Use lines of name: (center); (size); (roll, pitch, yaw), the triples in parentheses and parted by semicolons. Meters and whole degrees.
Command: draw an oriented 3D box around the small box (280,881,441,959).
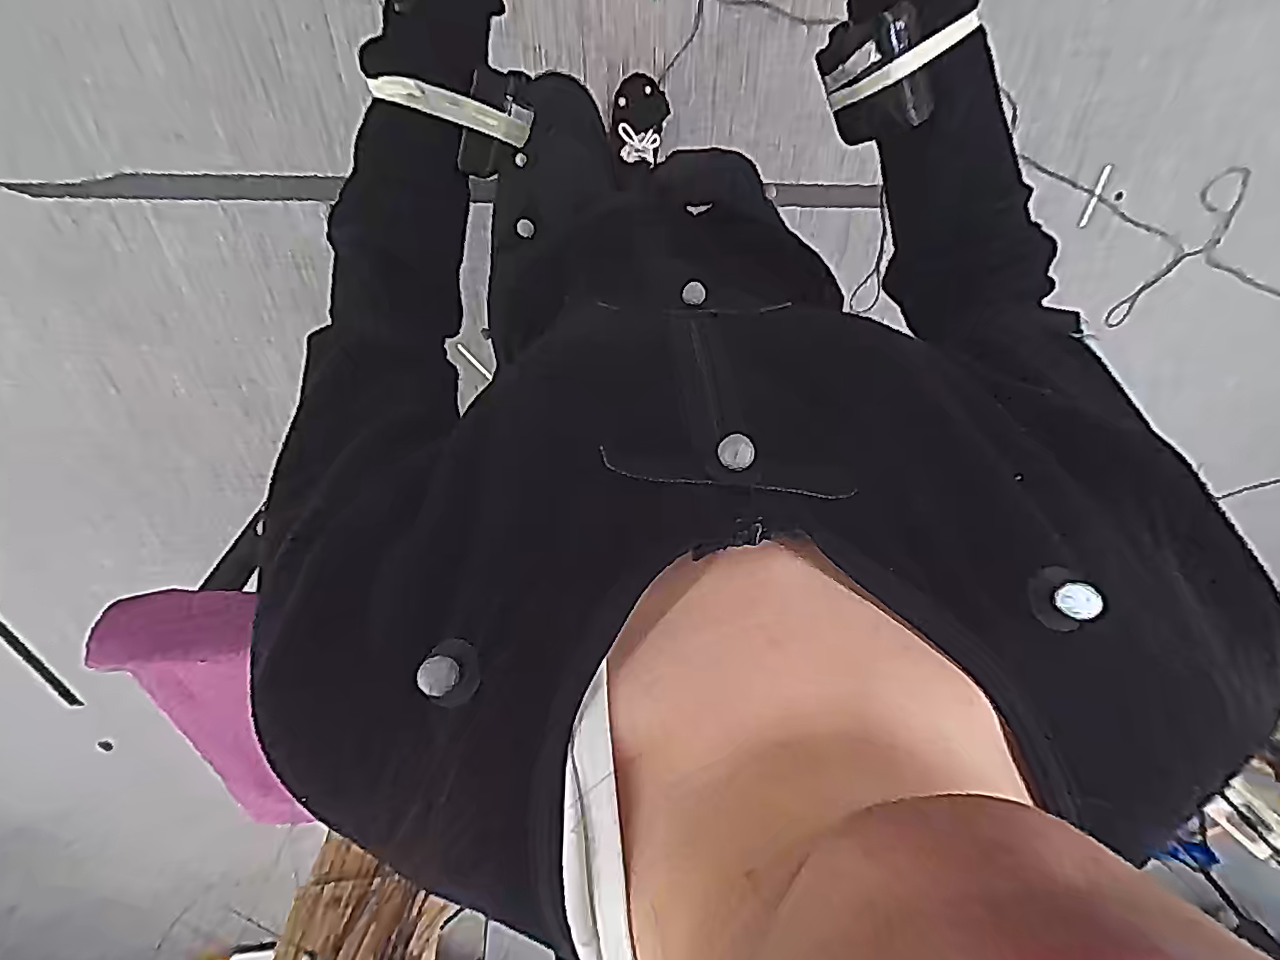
small box: (-0.386, 0.677, 0.743); (0.168, 0.176, 0.179); (-3, 125, -5)

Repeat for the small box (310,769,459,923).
small box: (-0.402, 0.604, 0.888); (0.168, 0.176, 0.179); (-1, 124, -7)

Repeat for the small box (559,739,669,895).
small box: (-0.047, 0.550, 0.899); (0.168, 0.176, 0.179); (-4, 126, -4)
